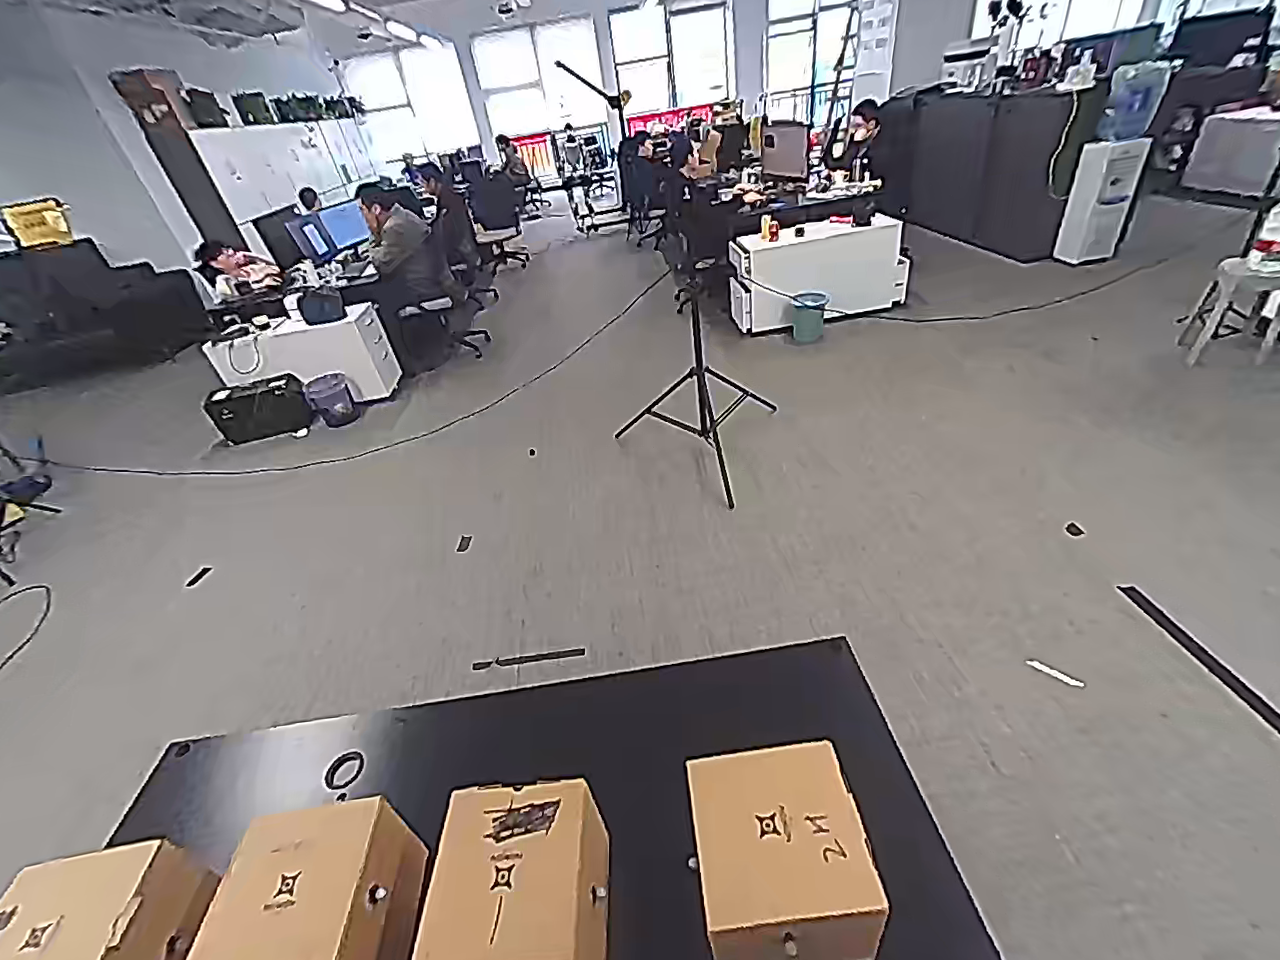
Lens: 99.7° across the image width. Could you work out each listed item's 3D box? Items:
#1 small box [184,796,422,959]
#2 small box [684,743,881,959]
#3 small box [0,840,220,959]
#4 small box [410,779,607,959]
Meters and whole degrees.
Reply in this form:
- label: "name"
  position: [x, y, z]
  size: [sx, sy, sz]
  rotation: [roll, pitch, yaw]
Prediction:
- label: "small box"
  position: [-0.381, 0.515, 0.643]
  size: [0.168, 0.176, 0.179]
  rotation: [-9, 34, -1]
- label: "small box"
  position: [0.154, 0.436, 0.624]
  size: [0.179, 0.176, 0.168]
  rotation: [-8, 35, 2]
- label: "small box"
  position: [-0.639, 0.561, 0.635]
  size: [0.179, 0.176, 0.168]
  rotation: [-10, 35, -2]
- label: "small box"
  position: [-0.134, 0.481, 0.629]
  size: [0.168, 0.176, 0.179]
  rotation: [-7, 36, 4]
